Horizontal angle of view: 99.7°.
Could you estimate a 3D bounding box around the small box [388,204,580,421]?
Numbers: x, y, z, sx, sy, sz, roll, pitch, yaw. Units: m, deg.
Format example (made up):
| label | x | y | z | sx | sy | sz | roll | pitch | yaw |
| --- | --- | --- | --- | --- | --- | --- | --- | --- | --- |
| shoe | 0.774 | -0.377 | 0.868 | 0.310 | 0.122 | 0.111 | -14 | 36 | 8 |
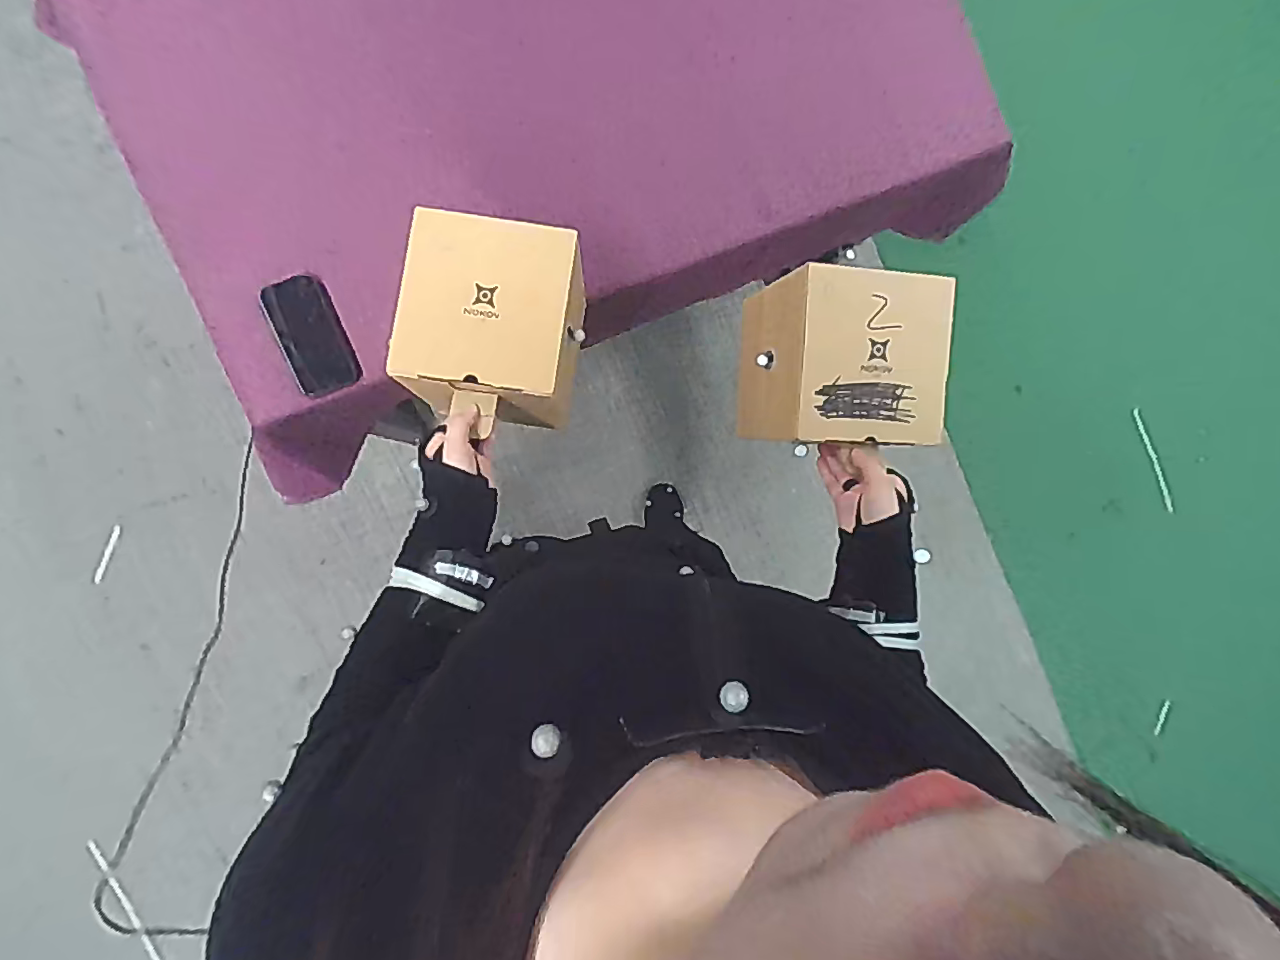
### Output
| label | x | y | z | sx | sy | sz | roll | pitch | yaw |
| --- | --- | --- | --- | --- | --- | --- | --- | --- | --- |
| small box | -0.161 | -0.177 | 0.619 | 0.168 | 0.176 | 0.179 | 7 | 85 | -3 |
